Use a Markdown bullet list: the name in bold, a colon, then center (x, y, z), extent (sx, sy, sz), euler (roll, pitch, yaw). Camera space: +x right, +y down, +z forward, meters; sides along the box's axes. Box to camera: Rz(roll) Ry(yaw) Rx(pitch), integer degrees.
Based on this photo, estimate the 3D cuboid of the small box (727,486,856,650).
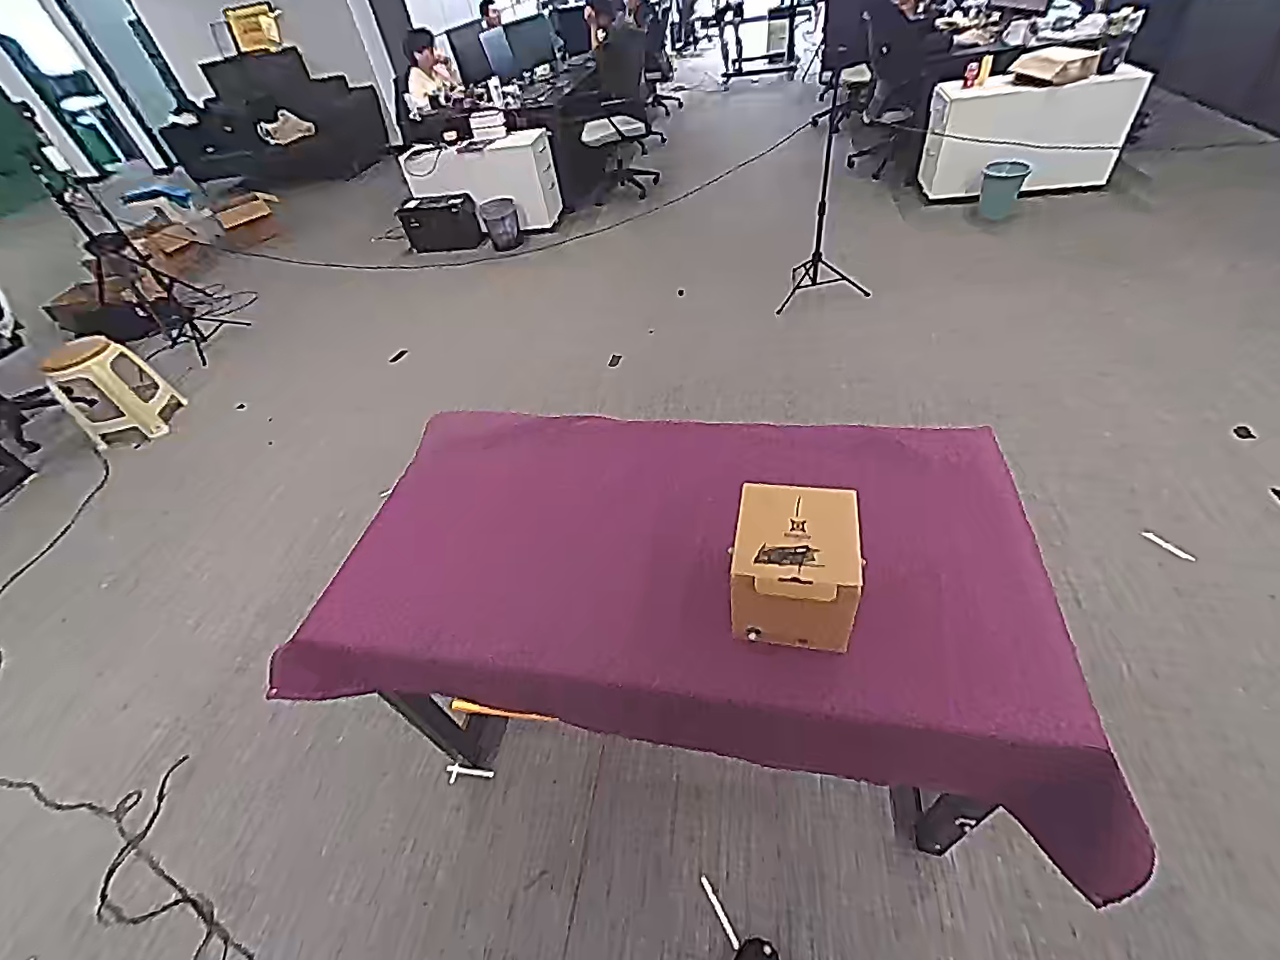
- **small box**: center (0.224, 0.132, 0.808), extent (0.168, 0.176, 0.179), euler (4, 45, 14)
